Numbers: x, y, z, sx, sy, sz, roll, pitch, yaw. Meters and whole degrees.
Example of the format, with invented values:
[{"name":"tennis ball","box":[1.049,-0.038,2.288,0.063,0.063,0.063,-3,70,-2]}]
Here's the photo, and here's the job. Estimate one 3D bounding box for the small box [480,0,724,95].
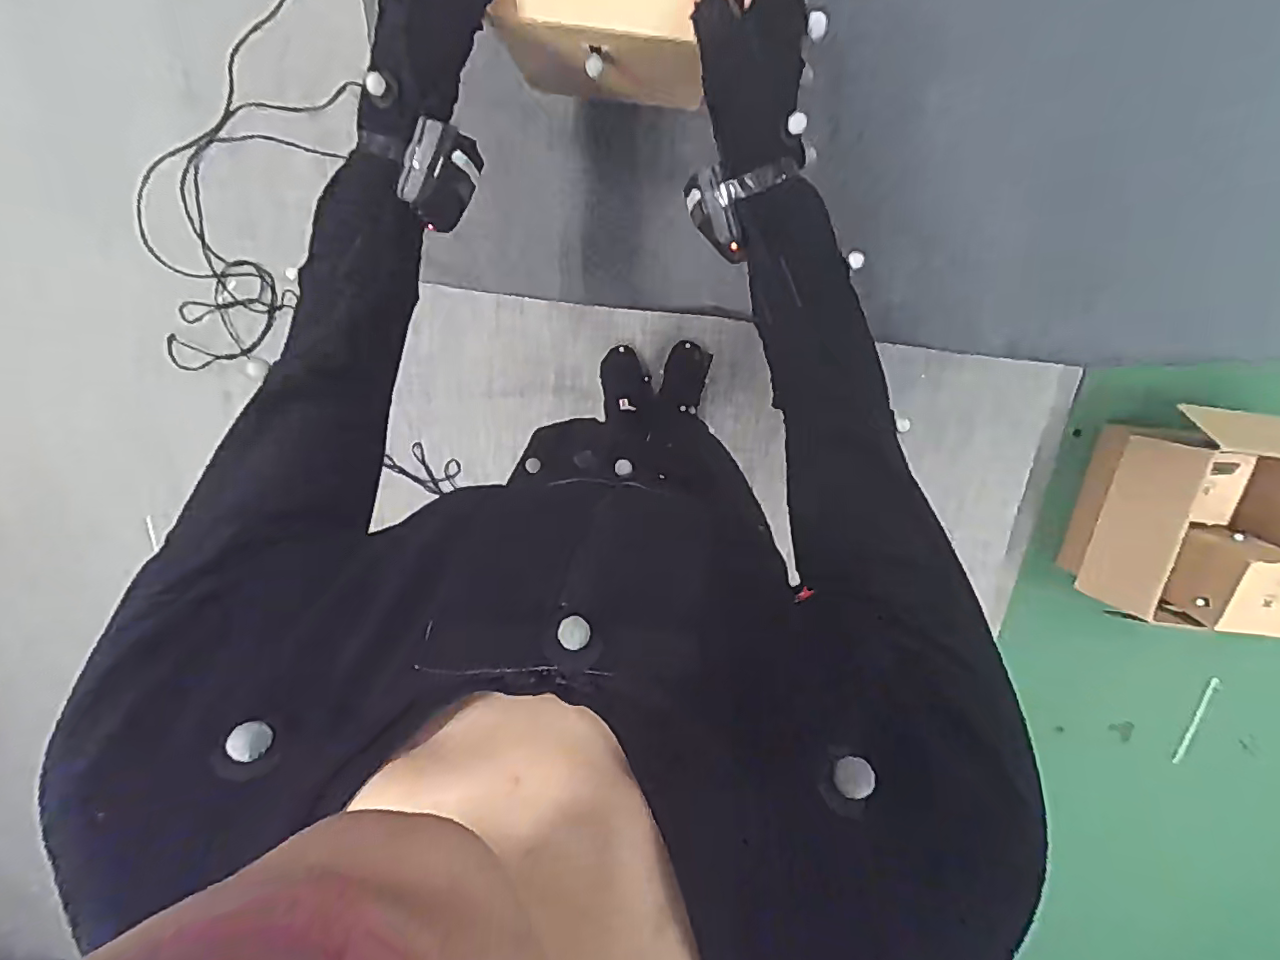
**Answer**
[{"name":"small box","box":[-0.020,-0.436,0.437,0.179,0.176,0.168,6,111,-1]}]
